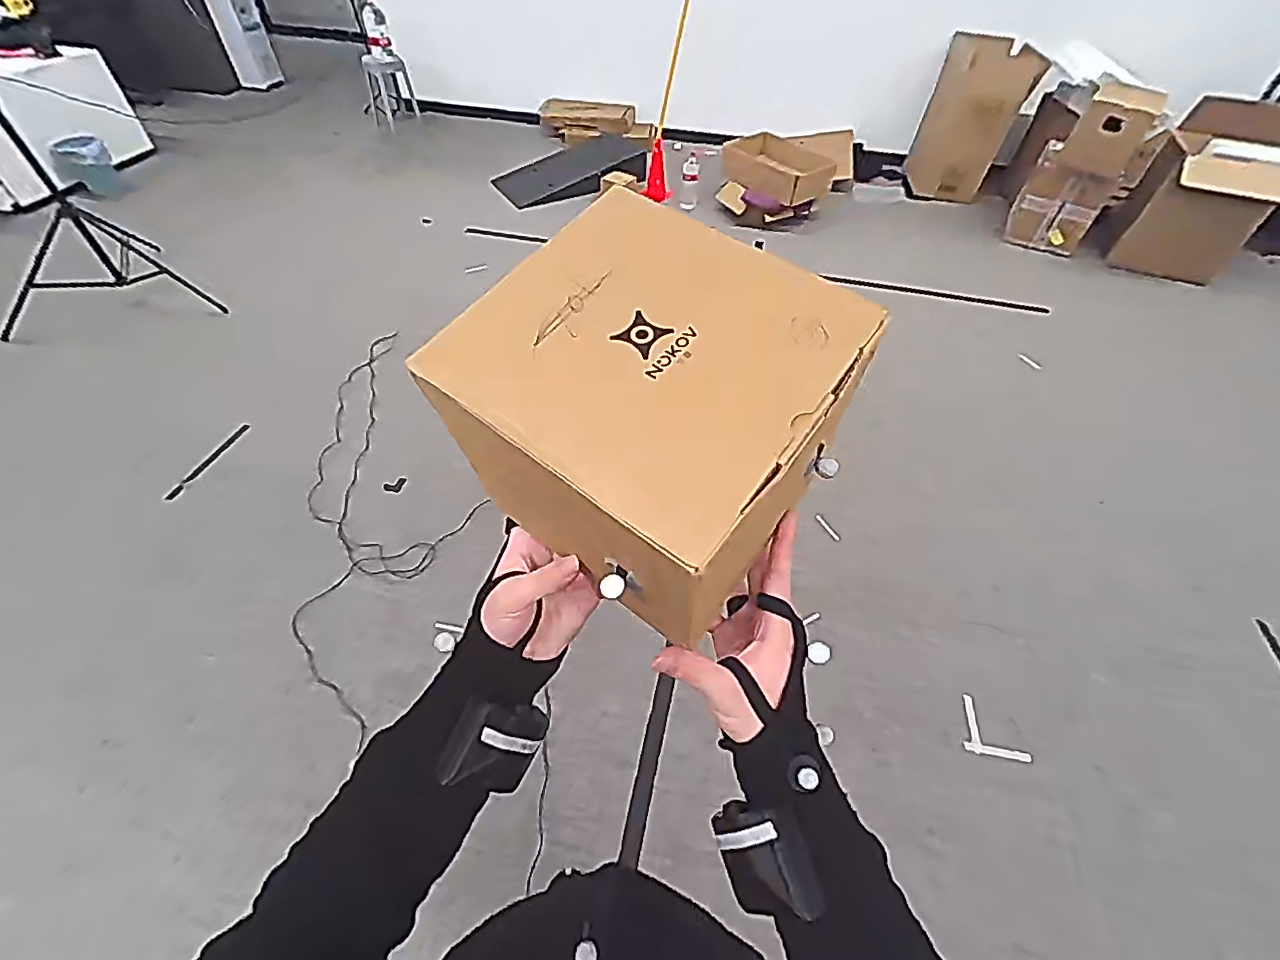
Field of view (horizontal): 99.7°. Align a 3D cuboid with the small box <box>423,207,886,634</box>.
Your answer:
[{"bbox_3d":[0.011,-0.024,0.340,0.179,0.176,0.168,33,68,19],"label":"small box"}]
